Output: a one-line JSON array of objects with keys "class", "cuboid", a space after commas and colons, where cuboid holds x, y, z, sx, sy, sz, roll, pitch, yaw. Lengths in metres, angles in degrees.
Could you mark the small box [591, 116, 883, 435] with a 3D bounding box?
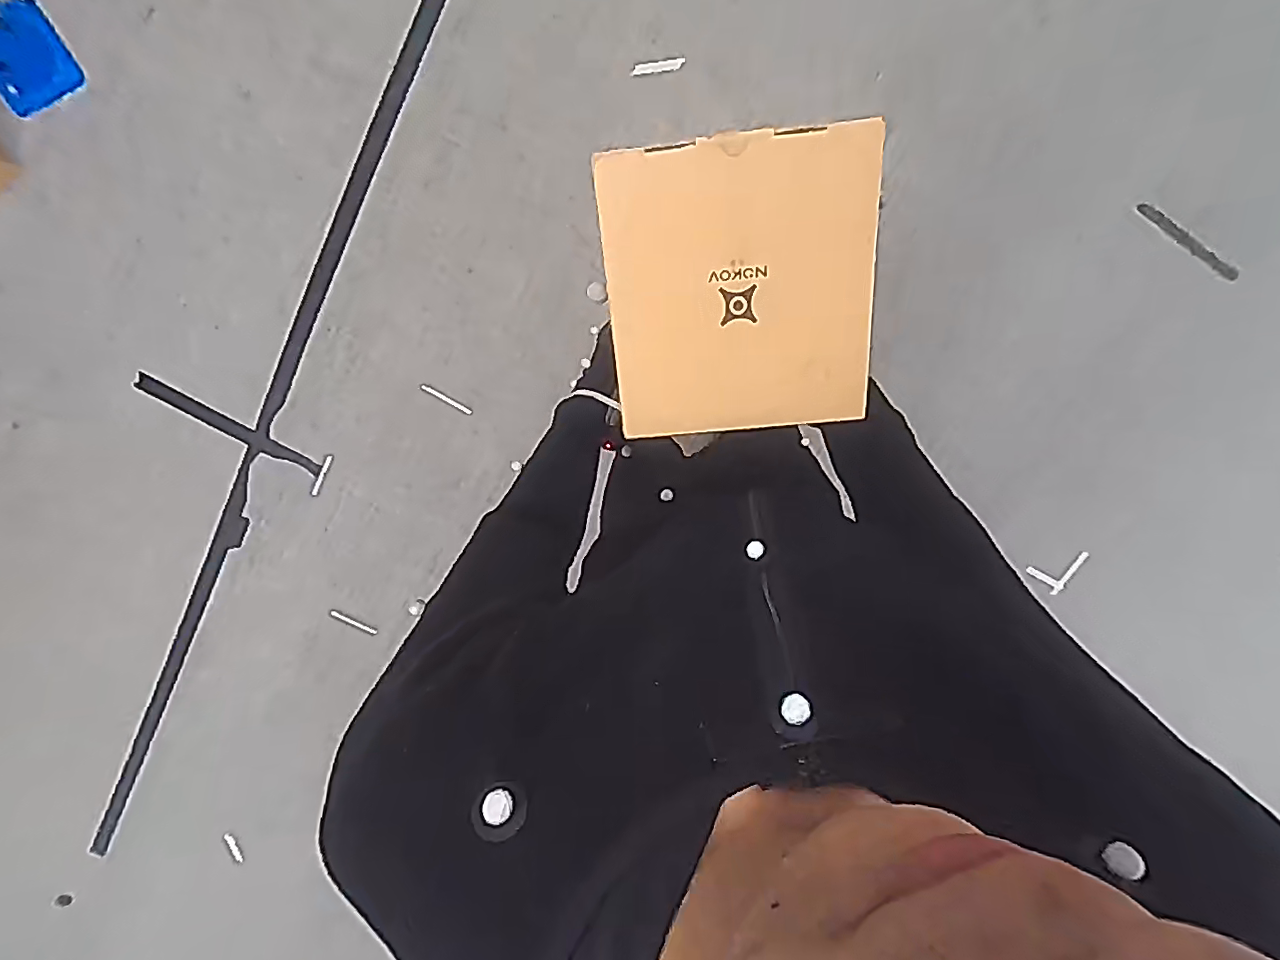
[{"class": "small box", "cuboid": [0.064, -0.147, 0.408, 0.168, 0.176, 0.179, -5, 112, 5]}]
